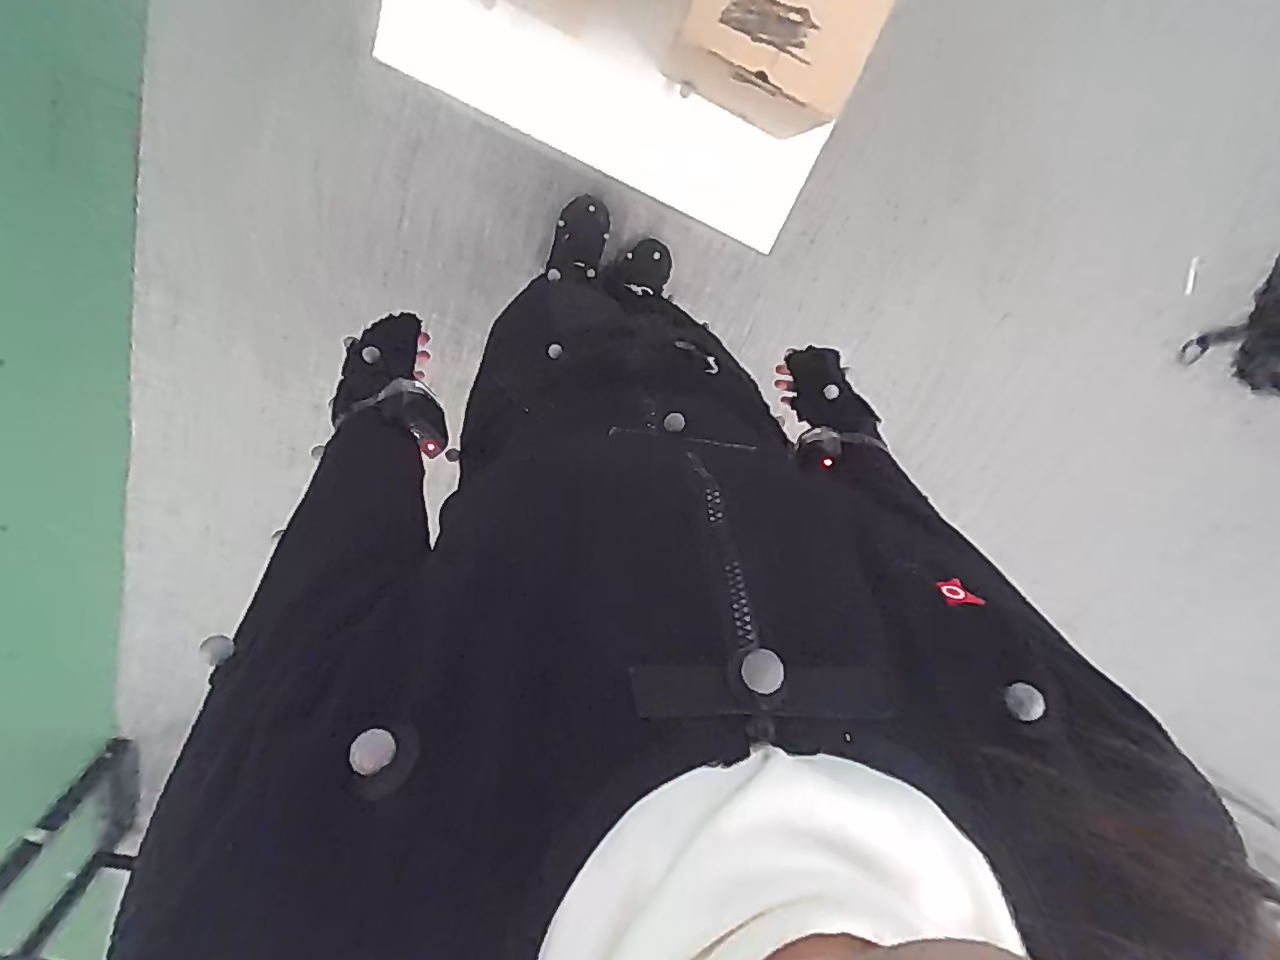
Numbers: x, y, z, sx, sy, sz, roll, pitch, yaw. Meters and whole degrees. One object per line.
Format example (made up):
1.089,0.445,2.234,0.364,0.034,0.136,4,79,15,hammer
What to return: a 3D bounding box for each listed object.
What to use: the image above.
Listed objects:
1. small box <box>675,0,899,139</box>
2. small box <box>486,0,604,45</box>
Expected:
0.142,-0.467,0.532,0.168,0.176,0.179,20,114,-12,small box
-0.097,-0.542,0.484,0.168,0.176,0.179,18,116,-11,small box
